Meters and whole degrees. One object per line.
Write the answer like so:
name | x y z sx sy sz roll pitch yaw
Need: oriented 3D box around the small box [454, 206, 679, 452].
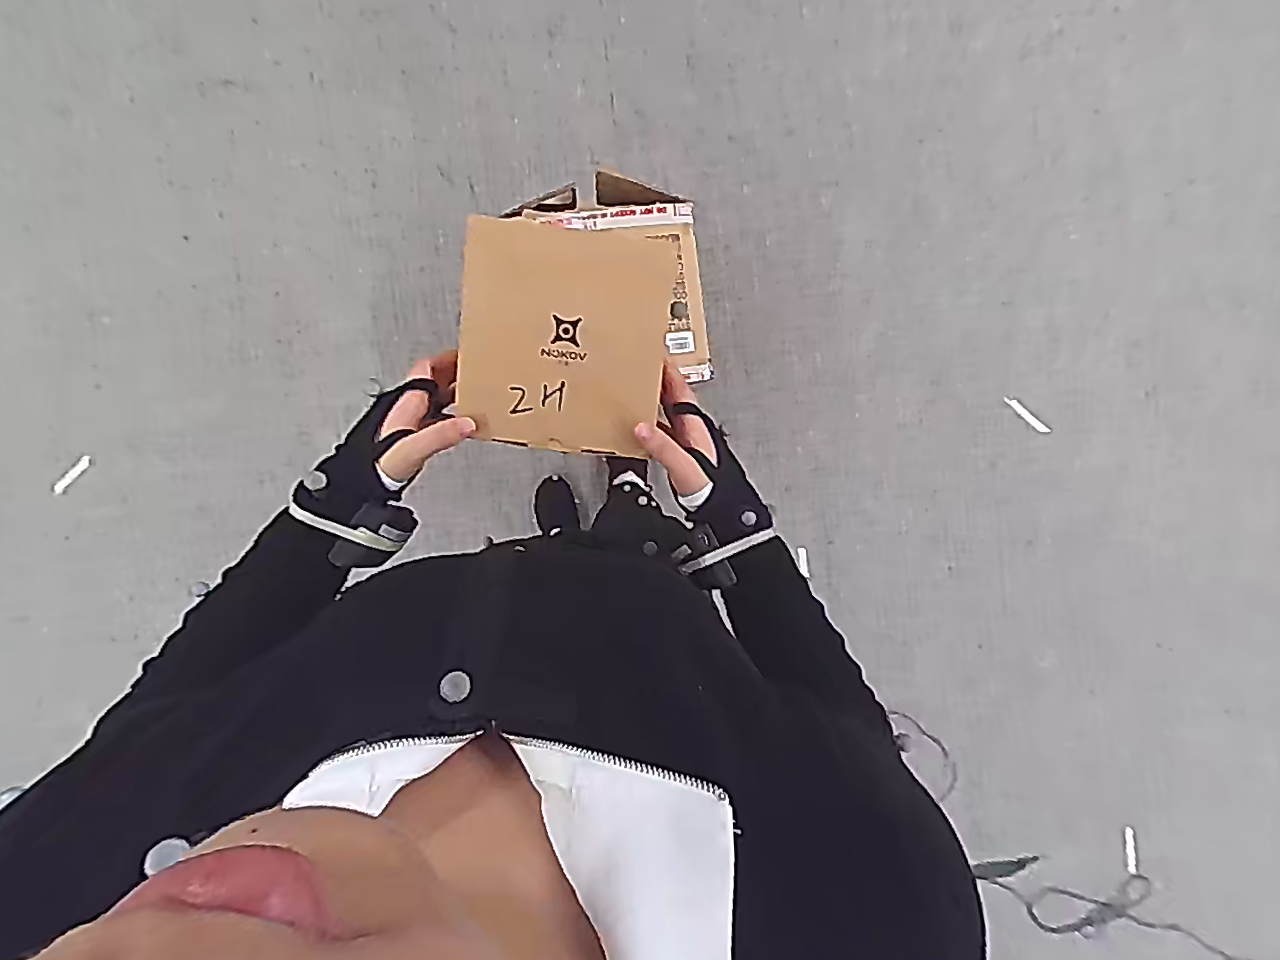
small box | -0.065 -0.129 0.512 0.168 0.176 0.179 6 98 -4
